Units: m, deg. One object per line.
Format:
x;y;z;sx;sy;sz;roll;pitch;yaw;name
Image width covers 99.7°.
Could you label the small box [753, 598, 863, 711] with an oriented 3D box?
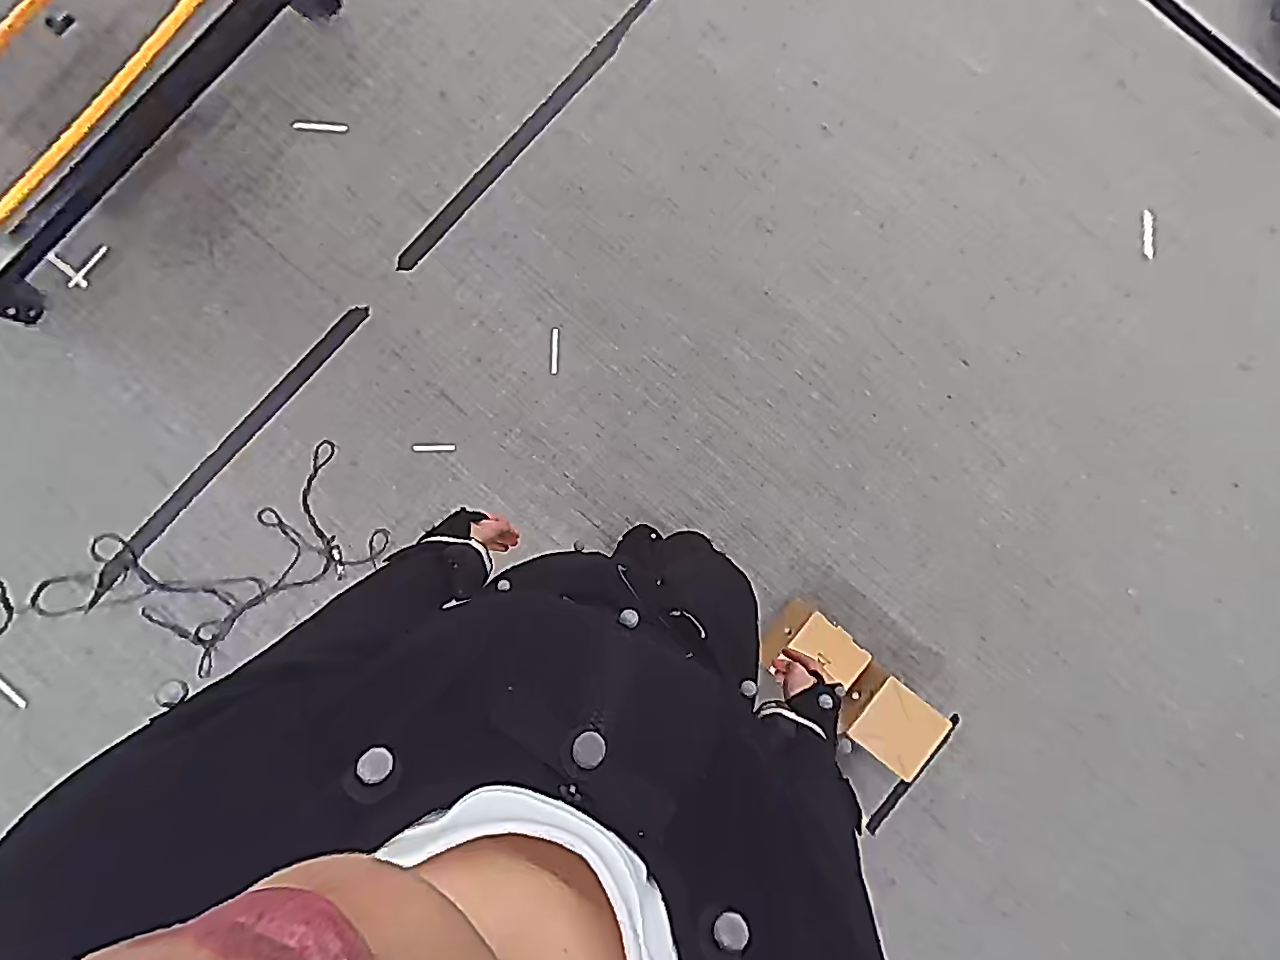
0.392;0.411;1.304;0.168;0.176;0.179;40;87;1;small box
